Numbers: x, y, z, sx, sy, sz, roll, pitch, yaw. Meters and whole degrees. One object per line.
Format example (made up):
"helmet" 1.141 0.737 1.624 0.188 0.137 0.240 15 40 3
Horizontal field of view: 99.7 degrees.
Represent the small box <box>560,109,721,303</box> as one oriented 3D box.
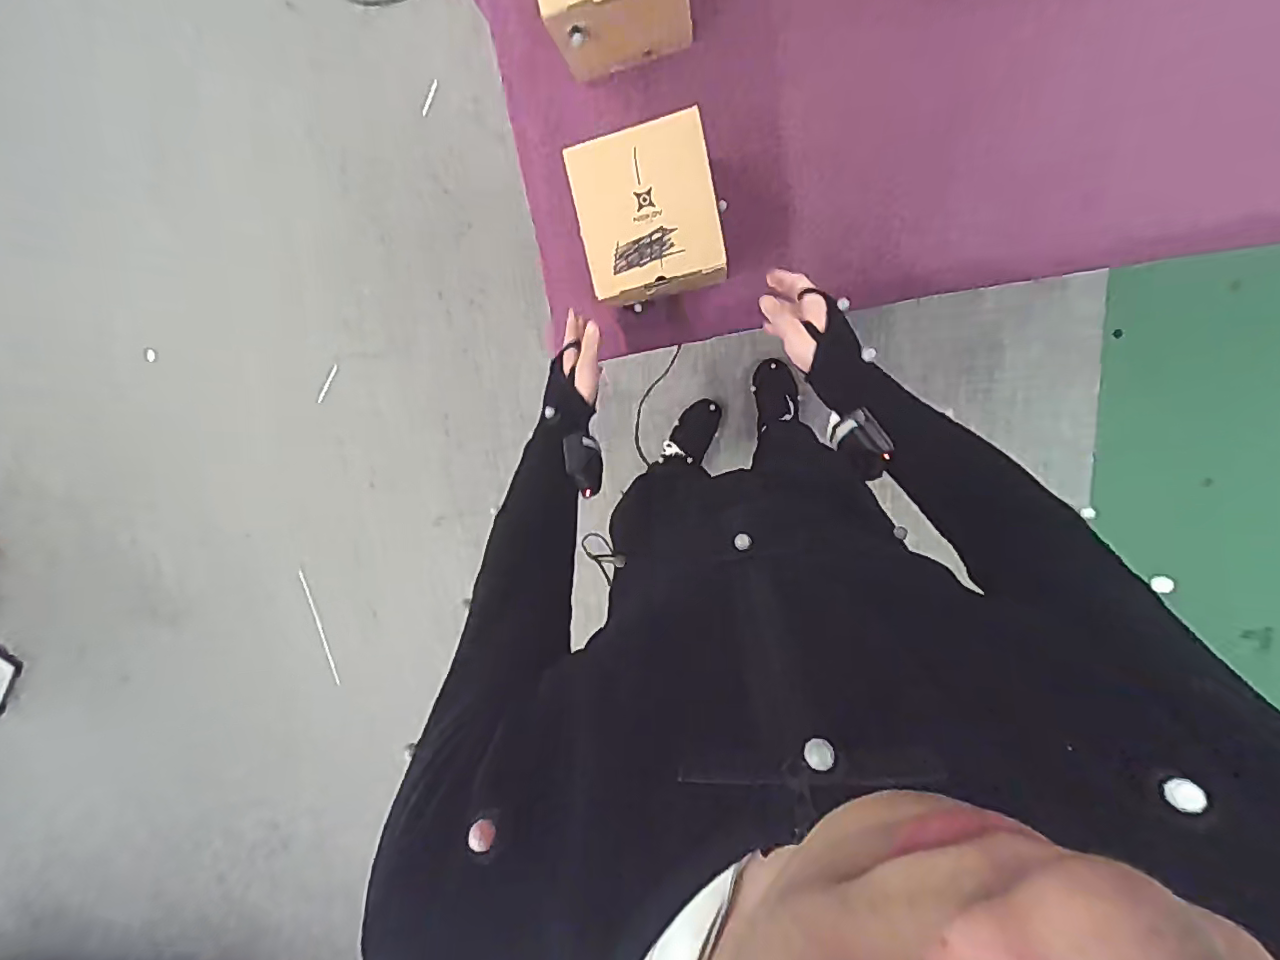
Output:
"small box" 0.012 -0.338 0.712 0.168 0.176 0.179 -11 102 10
